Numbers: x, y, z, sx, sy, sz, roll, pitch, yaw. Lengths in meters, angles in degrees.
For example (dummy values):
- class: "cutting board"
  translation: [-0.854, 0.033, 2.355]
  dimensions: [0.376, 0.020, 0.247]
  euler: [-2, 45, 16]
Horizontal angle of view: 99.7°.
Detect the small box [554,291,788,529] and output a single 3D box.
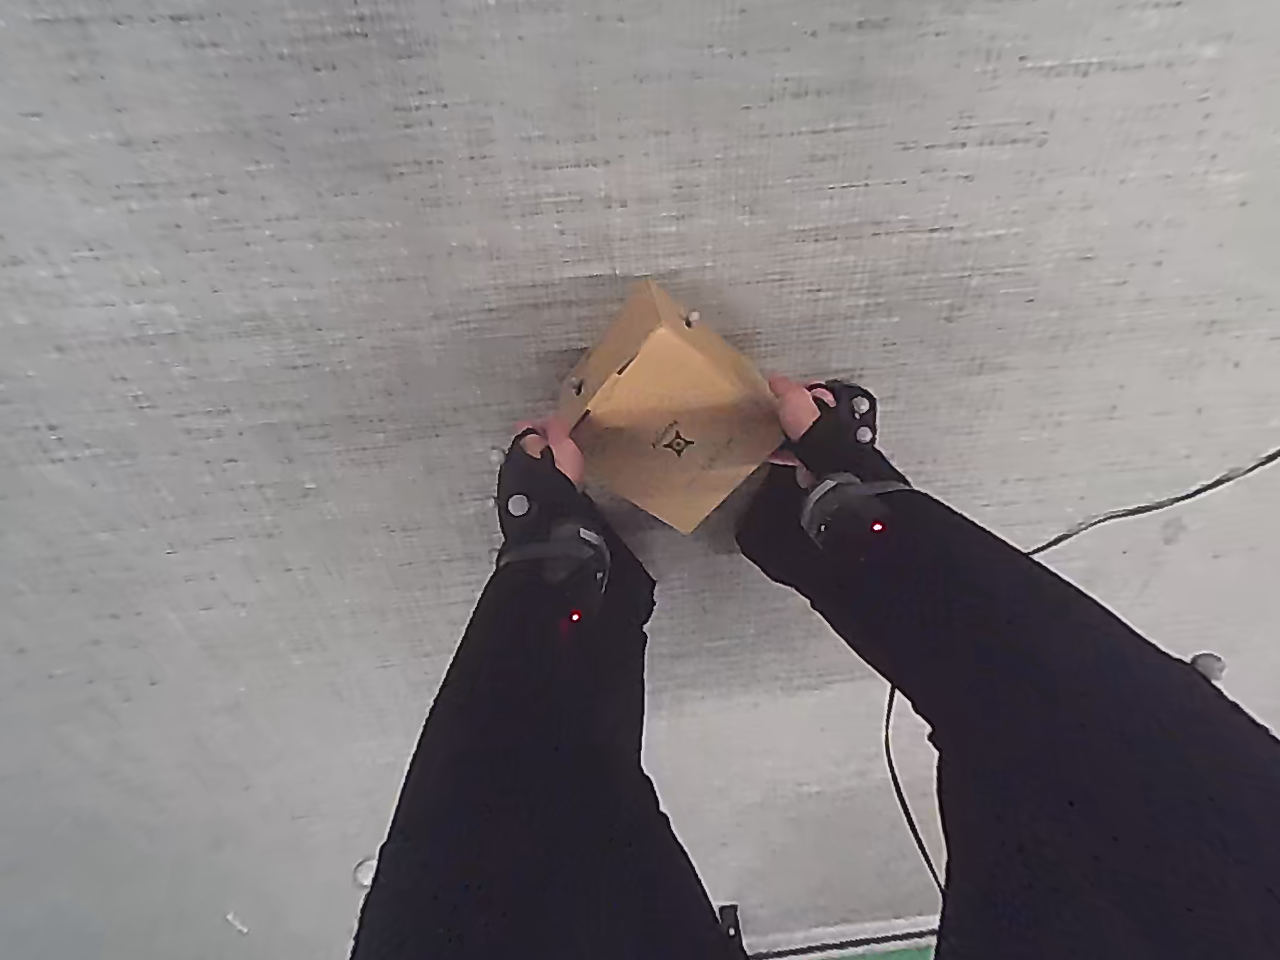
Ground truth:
- class: "small box"
  translation: [0.025, -0.085, 0.598]
  dimensions: [0.179, 0.176, 0.168]
  euler: [31, 117, -24]
